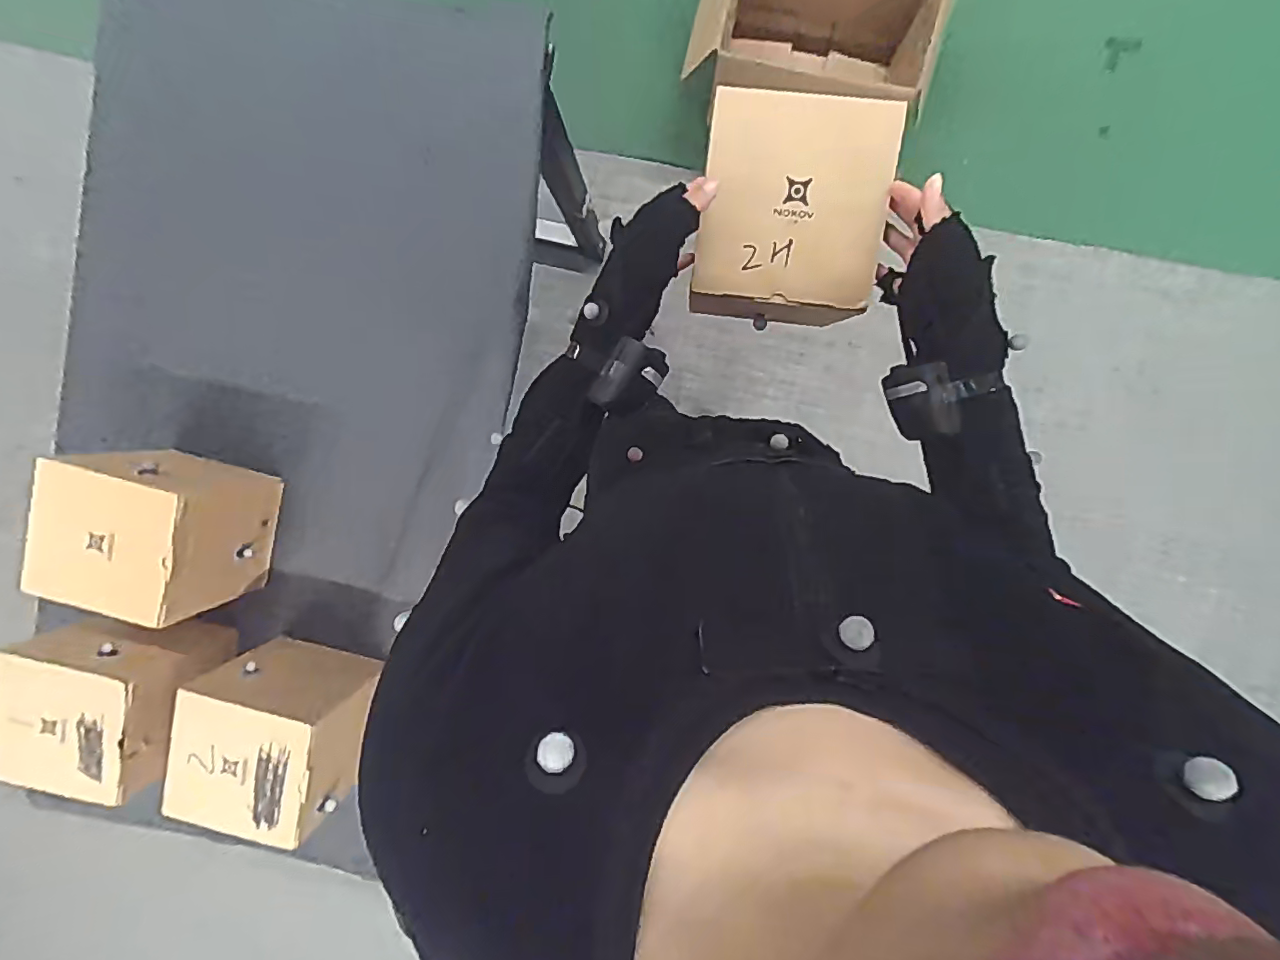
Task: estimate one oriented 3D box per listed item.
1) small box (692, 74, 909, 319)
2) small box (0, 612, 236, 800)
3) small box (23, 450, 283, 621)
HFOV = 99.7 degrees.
[{"bbox_3d":[0.145,-0.271,0.558,0.168,0.176,0.179,8,103,4],"label":"small box"},{"bbox_3d":[-0.693,0.285,0.729,0.179,0.176,0.168,12,97,2],"label":"small box"},{"bbox_3d":[-0.616,0.059,0.703,0.179,0.176,0.168,14,96,1],"label":"small box"}]
